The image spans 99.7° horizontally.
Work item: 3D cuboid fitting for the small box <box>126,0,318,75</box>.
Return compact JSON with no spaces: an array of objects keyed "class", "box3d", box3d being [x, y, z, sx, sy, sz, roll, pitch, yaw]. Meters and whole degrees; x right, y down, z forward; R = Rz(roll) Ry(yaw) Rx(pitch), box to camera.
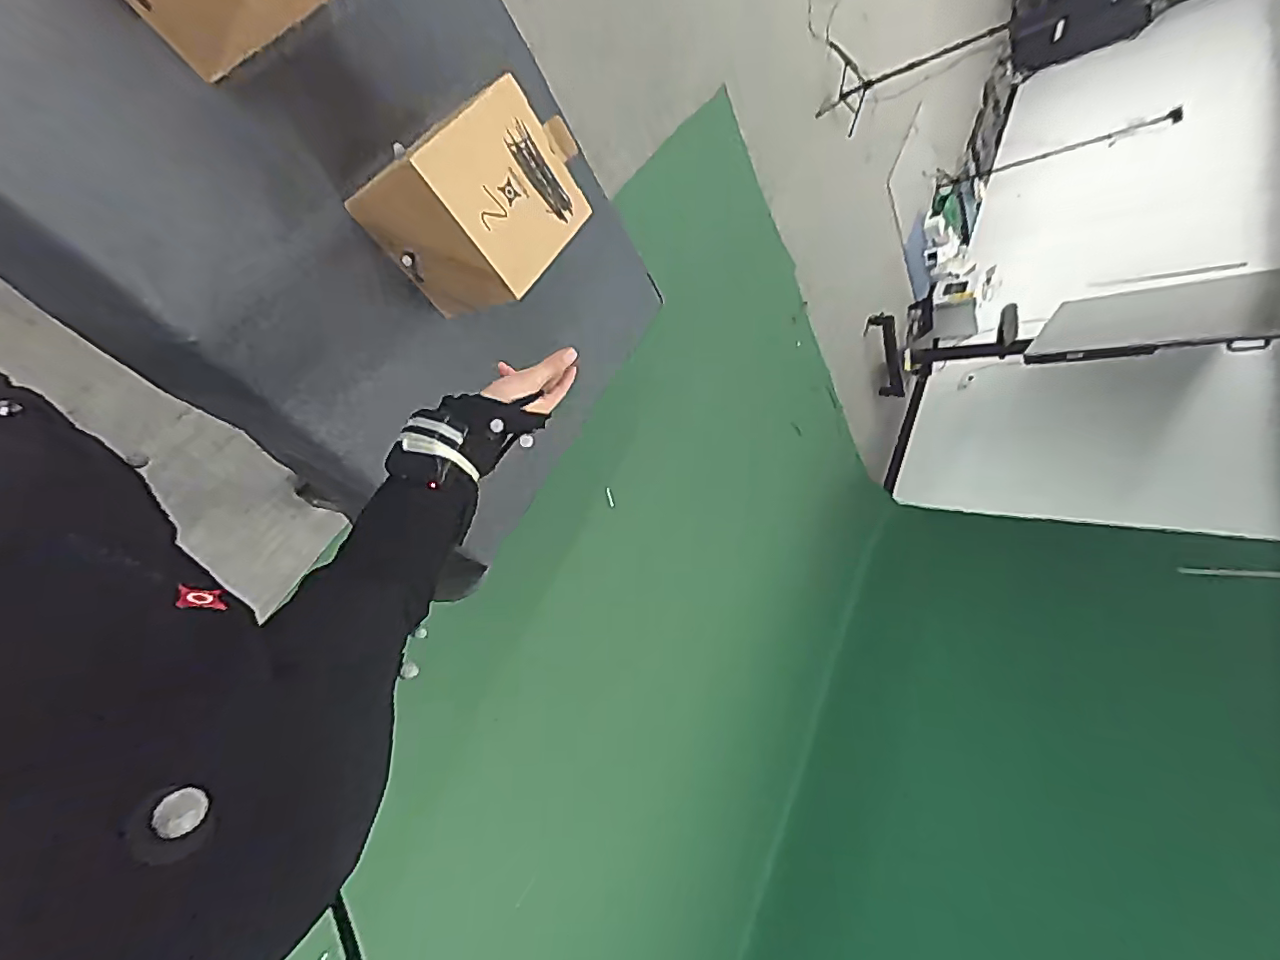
[{"class":"small box","box3d":[-0.363,-0.495,0.451,0.168,0.176,0.179,47,60,-39]}]
